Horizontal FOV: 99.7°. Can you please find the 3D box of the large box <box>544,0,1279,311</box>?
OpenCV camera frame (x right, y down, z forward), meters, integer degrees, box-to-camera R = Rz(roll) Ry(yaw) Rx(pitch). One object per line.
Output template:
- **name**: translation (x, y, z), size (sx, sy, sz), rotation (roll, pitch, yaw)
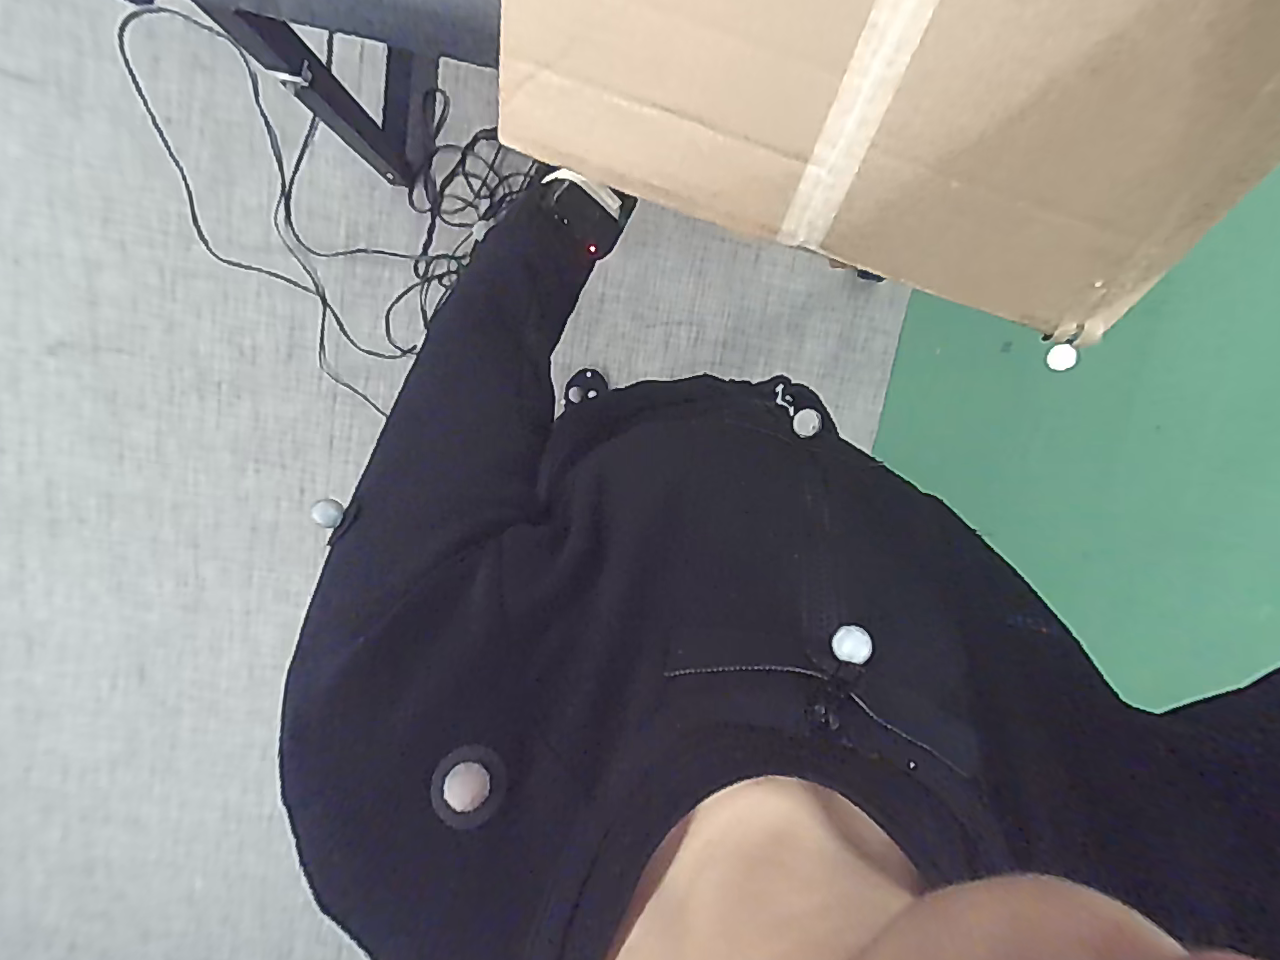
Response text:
- **large box**: translation (0.164, -0.364, 0.234), size (0.320, 0.320, 0.408), rotation (18, 139, 0)
